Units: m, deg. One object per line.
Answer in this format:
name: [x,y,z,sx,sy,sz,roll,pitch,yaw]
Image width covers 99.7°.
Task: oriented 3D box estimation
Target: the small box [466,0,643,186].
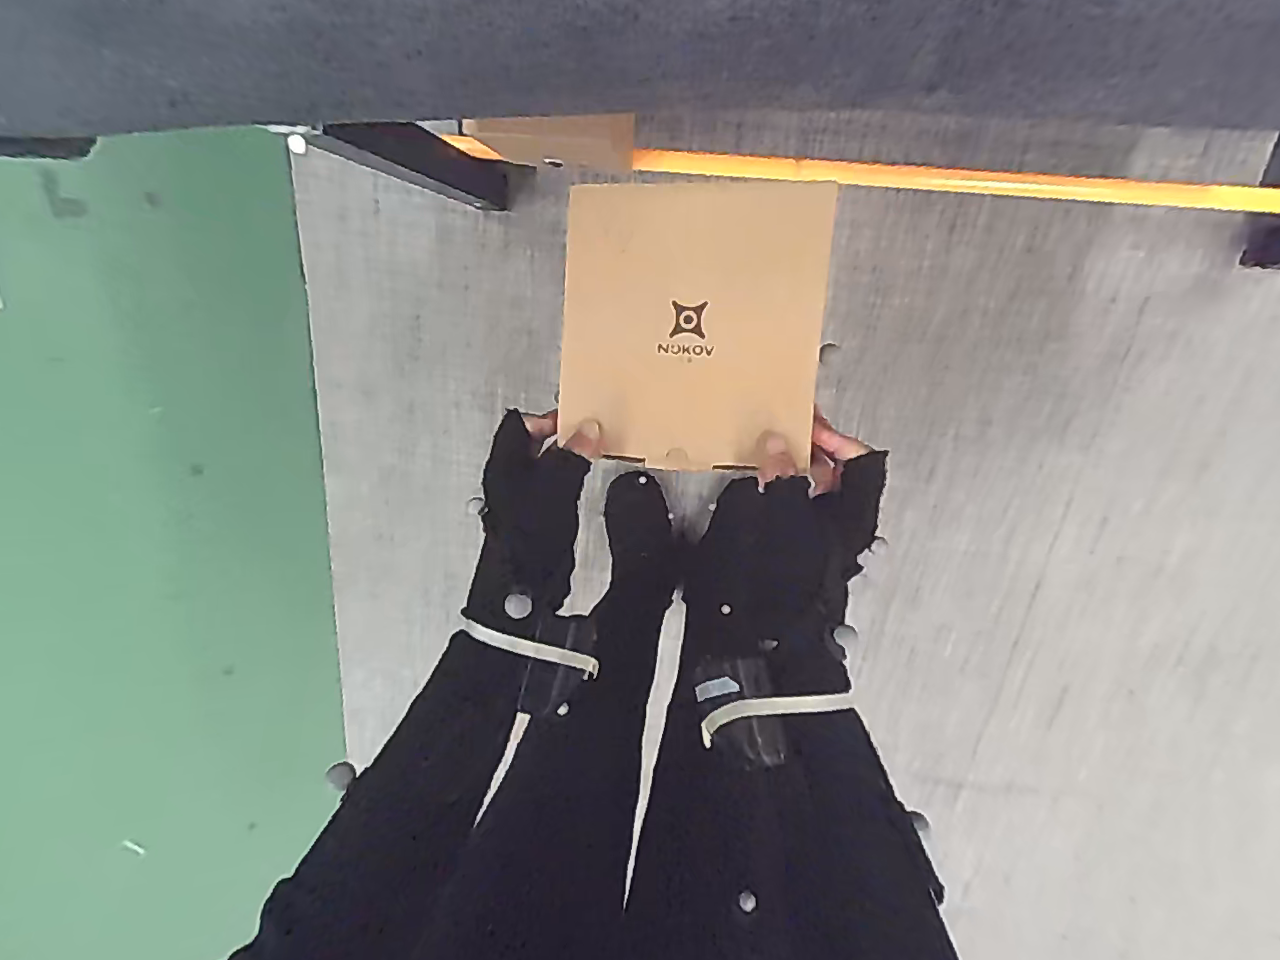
small box: [-0.091,-0.464,0.638,0.168,0.176,0.179,7,110,7]
